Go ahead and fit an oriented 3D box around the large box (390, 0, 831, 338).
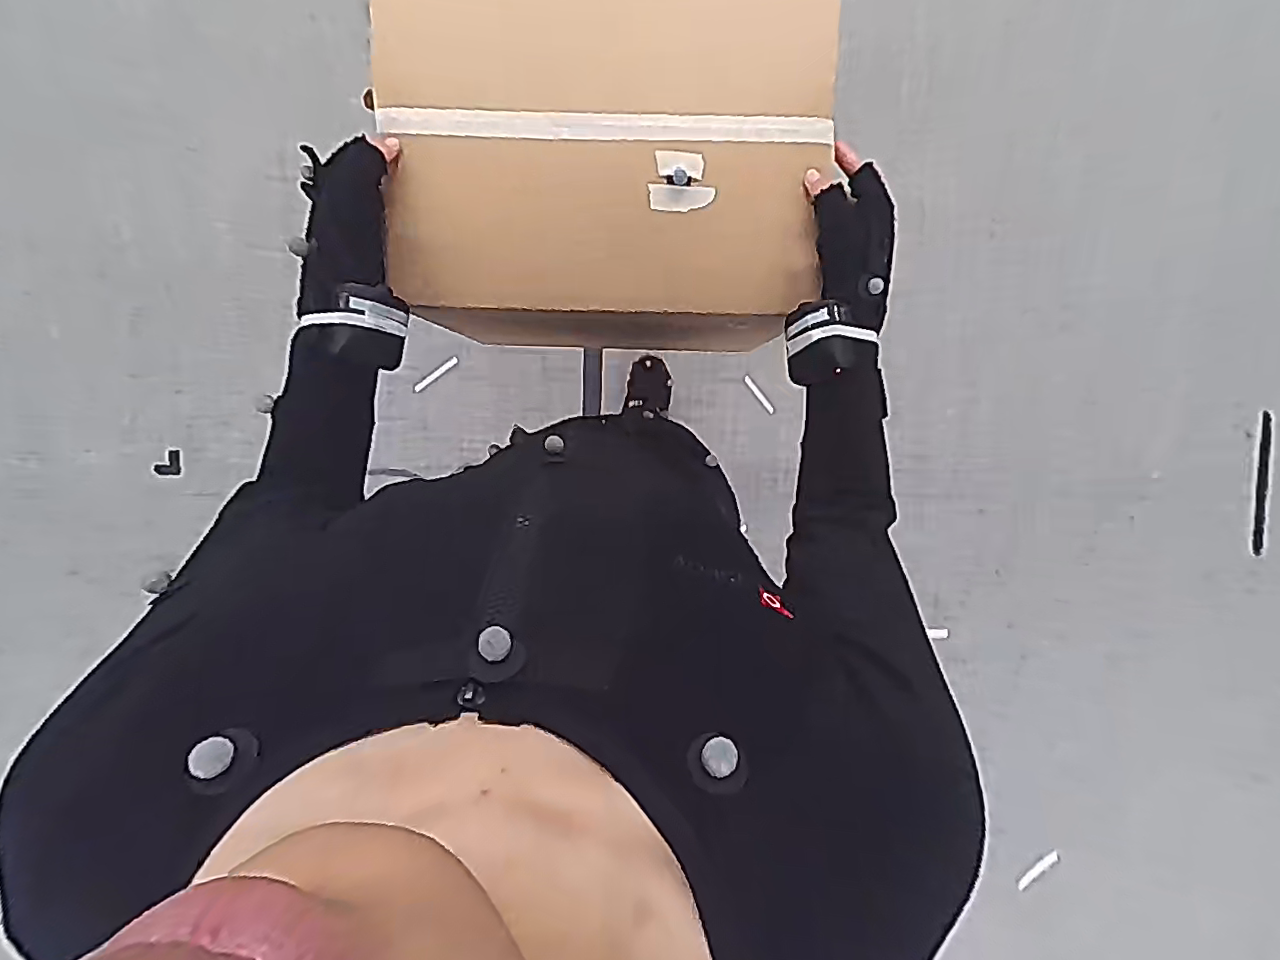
[{"bbox_3d":[-0.030,-0.347,0.645,0.408,0.320,0.320,1,98,-2],"label":"large box"}]
